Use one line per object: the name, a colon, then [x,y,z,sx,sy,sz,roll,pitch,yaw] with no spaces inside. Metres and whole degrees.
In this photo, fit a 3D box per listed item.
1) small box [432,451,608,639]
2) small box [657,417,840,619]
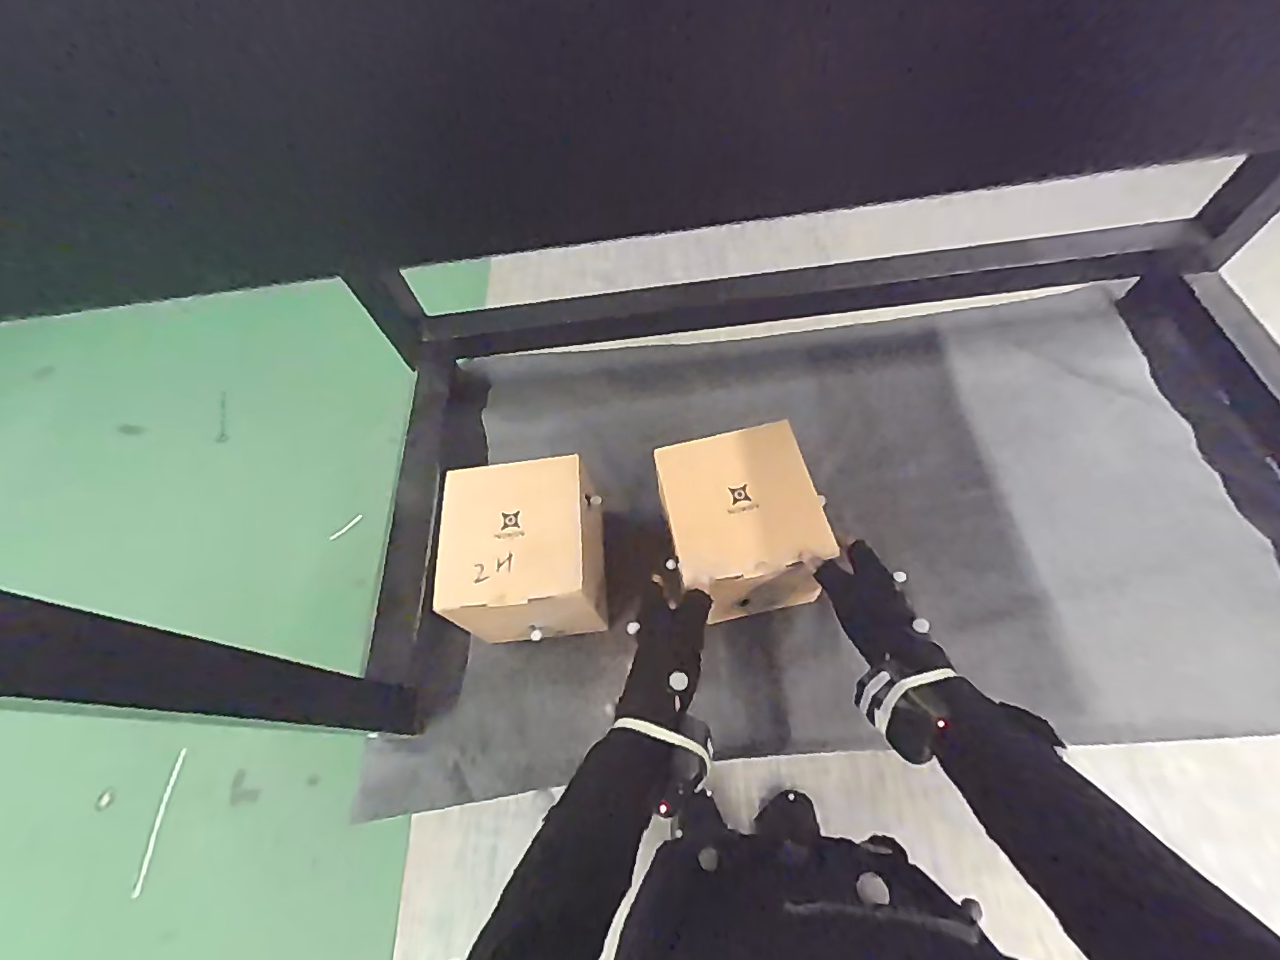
small box: [-0.137,0.087,0.681,0.168,0.176,0.179,-7,61,5]
small box: [0.121,0.053,0.667,0.168,0.176,0.179,-13,61,1]
